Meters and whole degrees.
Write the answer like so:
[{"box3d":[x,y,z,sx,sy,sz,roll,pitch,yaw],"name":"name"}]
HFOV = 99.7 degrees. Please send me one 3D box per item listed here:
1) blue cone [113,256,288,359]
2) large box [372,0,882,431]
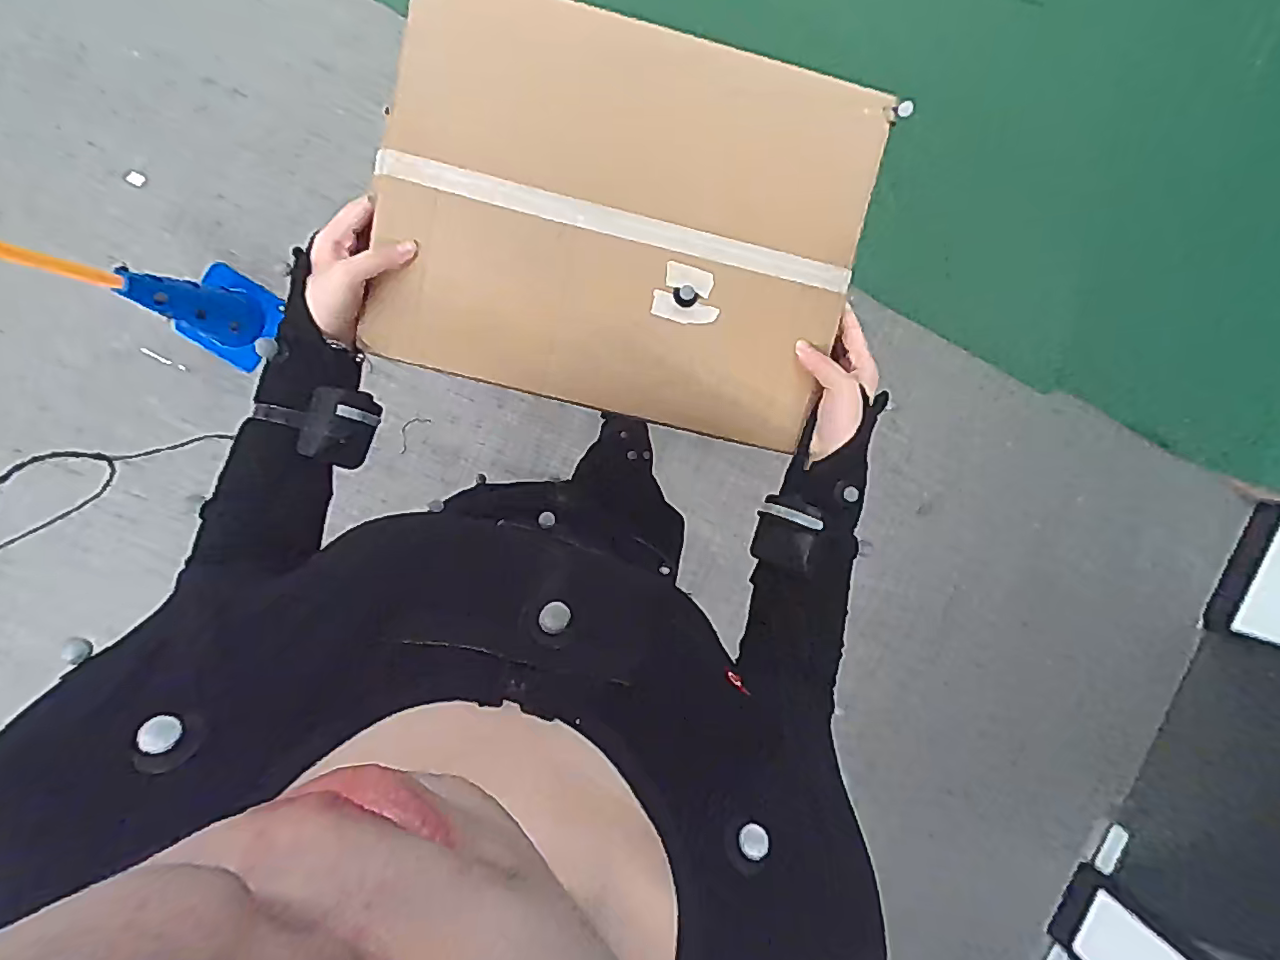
[{"box3d":[-0.957,-0.392,1.148,0.193,0.380,0.192,35,89,-11],"name":"blue cone"},{"box3d":[-0.023,-0.249,0.616,0.408,0.320,0.320,12,97,-5],"name":"large box"}]
